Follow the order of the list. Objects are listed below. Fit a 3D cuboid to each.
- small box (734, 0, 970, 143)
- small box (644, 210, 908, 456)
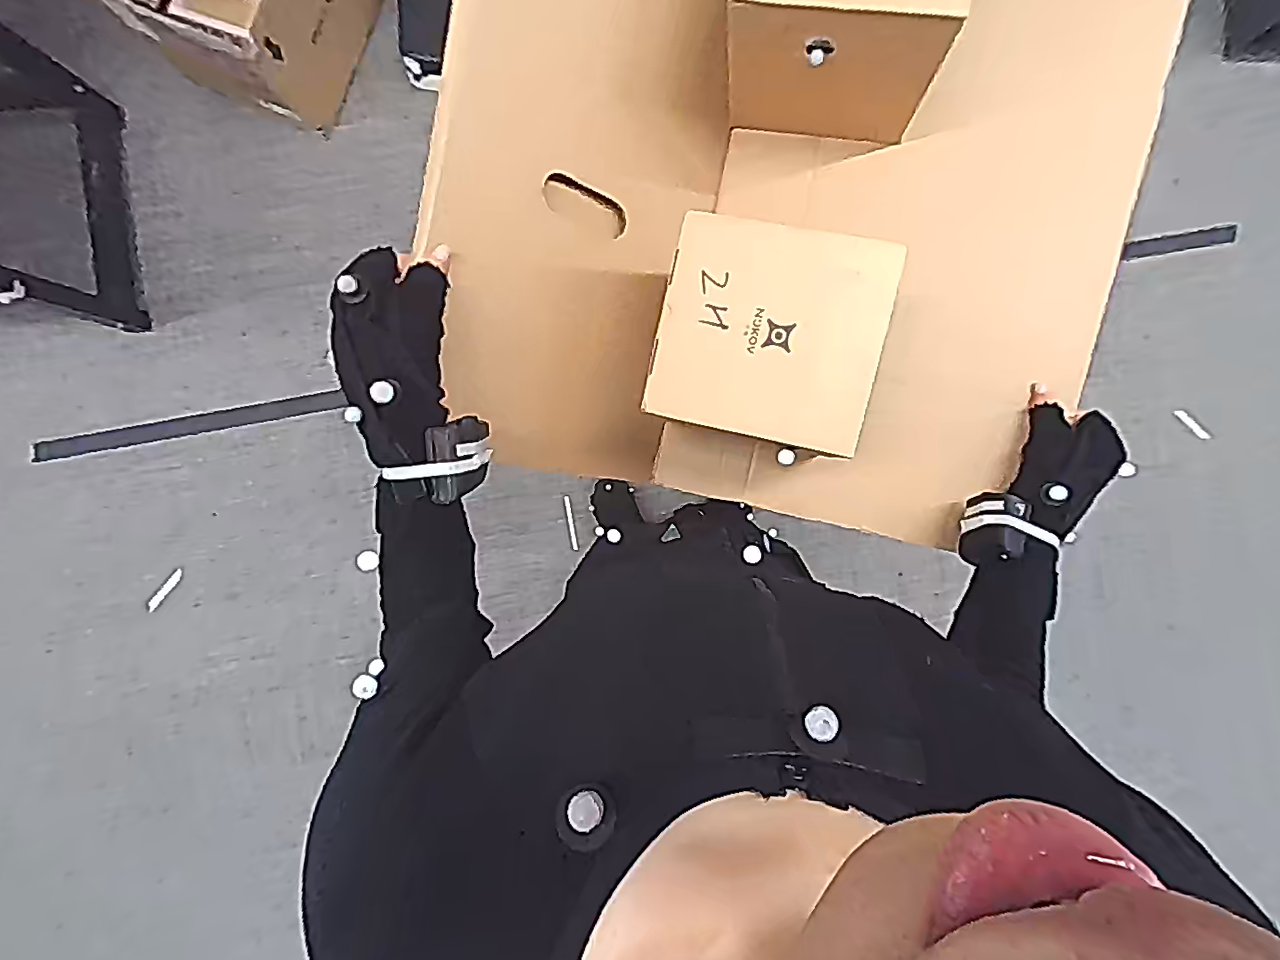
[{"bbox_3d":[0.187,-0.436,0.484,0.179,0.176,0.168,13,95,8],"label":"small box"},{"bbox_3d":[0.118,-0.125,0.514,0.179,0.176,0.168,15,96,9],"label":"small box"}]
